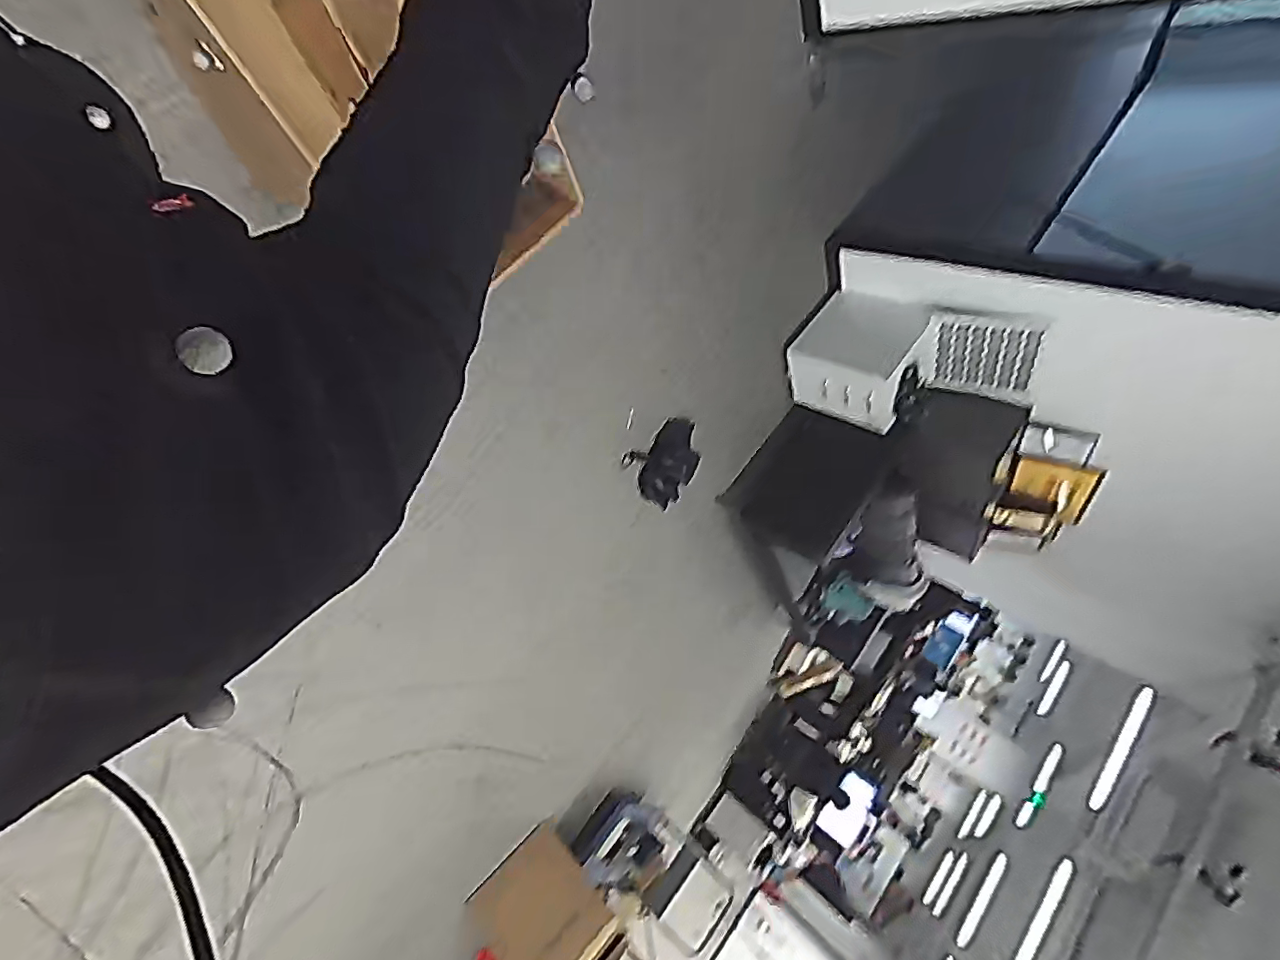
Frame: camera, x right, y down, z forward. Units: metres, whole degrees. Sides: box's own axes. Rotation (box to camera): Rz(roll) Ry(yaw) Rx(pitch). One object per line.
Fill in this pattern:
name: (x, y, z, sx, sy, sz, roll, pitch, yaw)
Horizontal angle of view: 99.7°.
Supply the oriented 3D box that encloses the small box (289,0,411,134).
small box: (-0.373, -0.637, 0.792, 0.179, 0.176, 0.168, -49, 146, -19)
